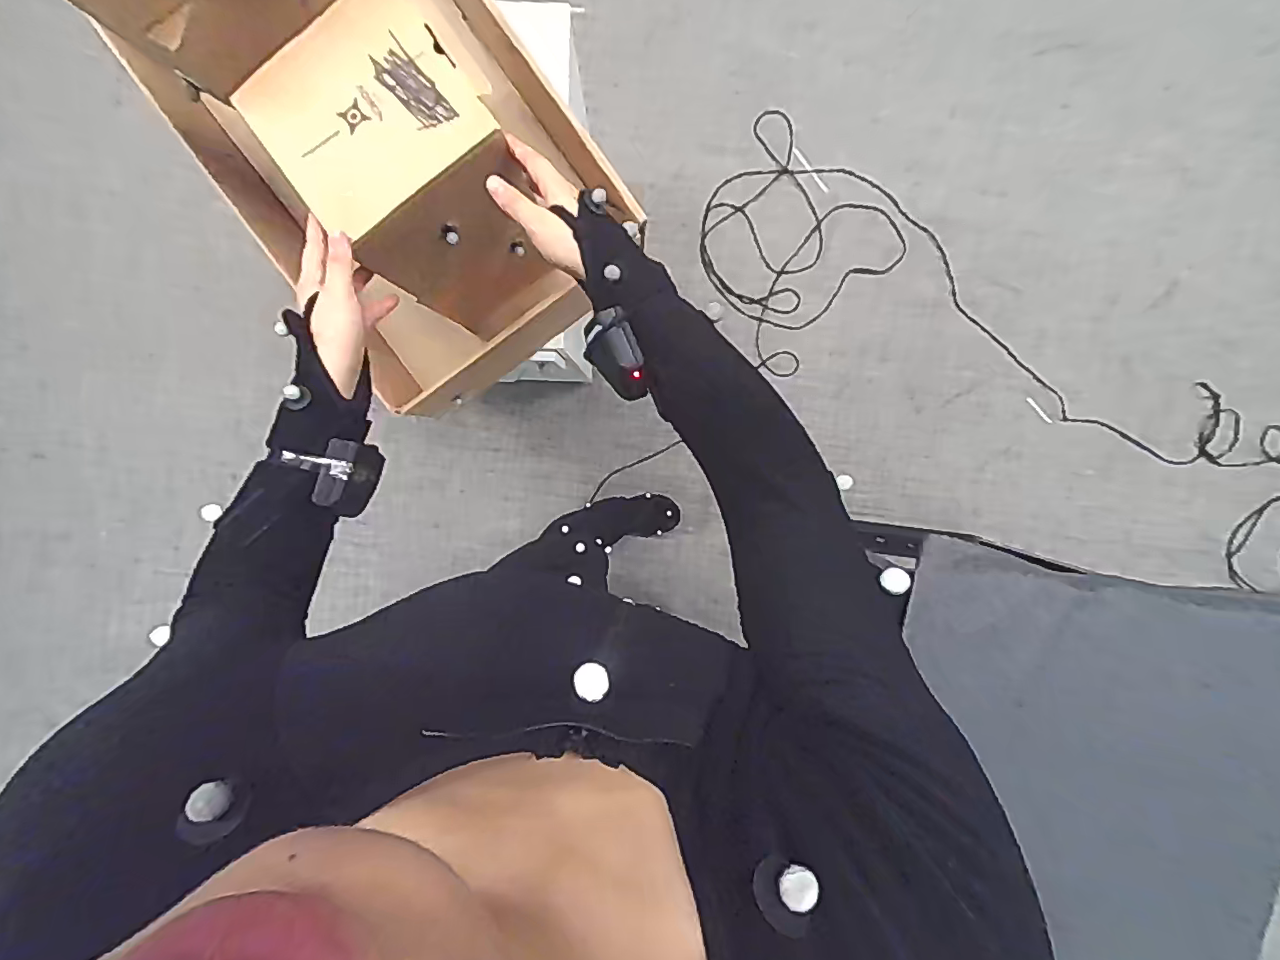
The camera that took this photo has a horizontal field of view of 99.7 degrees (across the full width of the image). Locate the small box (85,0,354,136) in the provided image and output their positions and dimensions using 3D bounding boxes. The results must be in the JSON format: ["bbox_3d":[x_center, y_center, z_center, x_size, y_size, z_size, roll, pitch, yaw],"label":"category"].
[{"bbox_3d":[-0.420,-0.495,0.532,0.168,0.176,0.179,29,97,-3],"label":"small box"}]
